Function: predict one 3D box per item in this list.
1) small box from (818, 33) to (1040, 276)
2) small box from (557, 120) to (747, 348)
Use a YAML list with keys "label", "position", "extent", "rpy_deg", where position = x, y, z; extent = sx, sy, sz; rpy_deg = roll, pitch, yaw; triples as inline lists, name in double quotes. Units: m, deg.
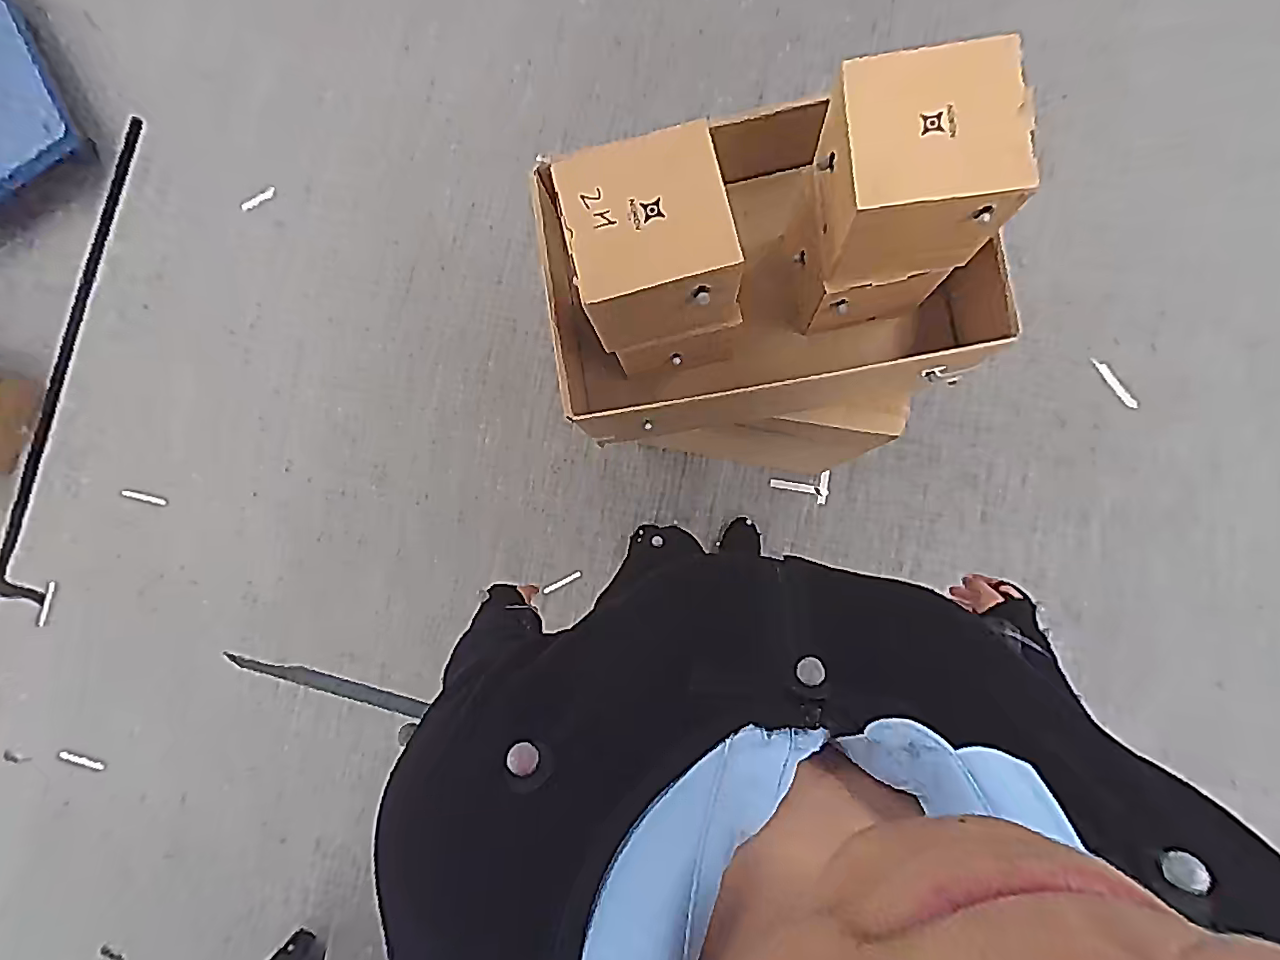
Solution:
- label: "small box"
  position: [0.310, -0.354, 0.623]
  extent: [0.179, 0.176, 0.168]
  rpy_deg: [-5, 85, 6]
- label: "small box"
  position: [0.018, -0.278, 0.649]
  extent: [0.179, 0.176, 0.168]
  rpy_deg: [-14, 84, 5]
